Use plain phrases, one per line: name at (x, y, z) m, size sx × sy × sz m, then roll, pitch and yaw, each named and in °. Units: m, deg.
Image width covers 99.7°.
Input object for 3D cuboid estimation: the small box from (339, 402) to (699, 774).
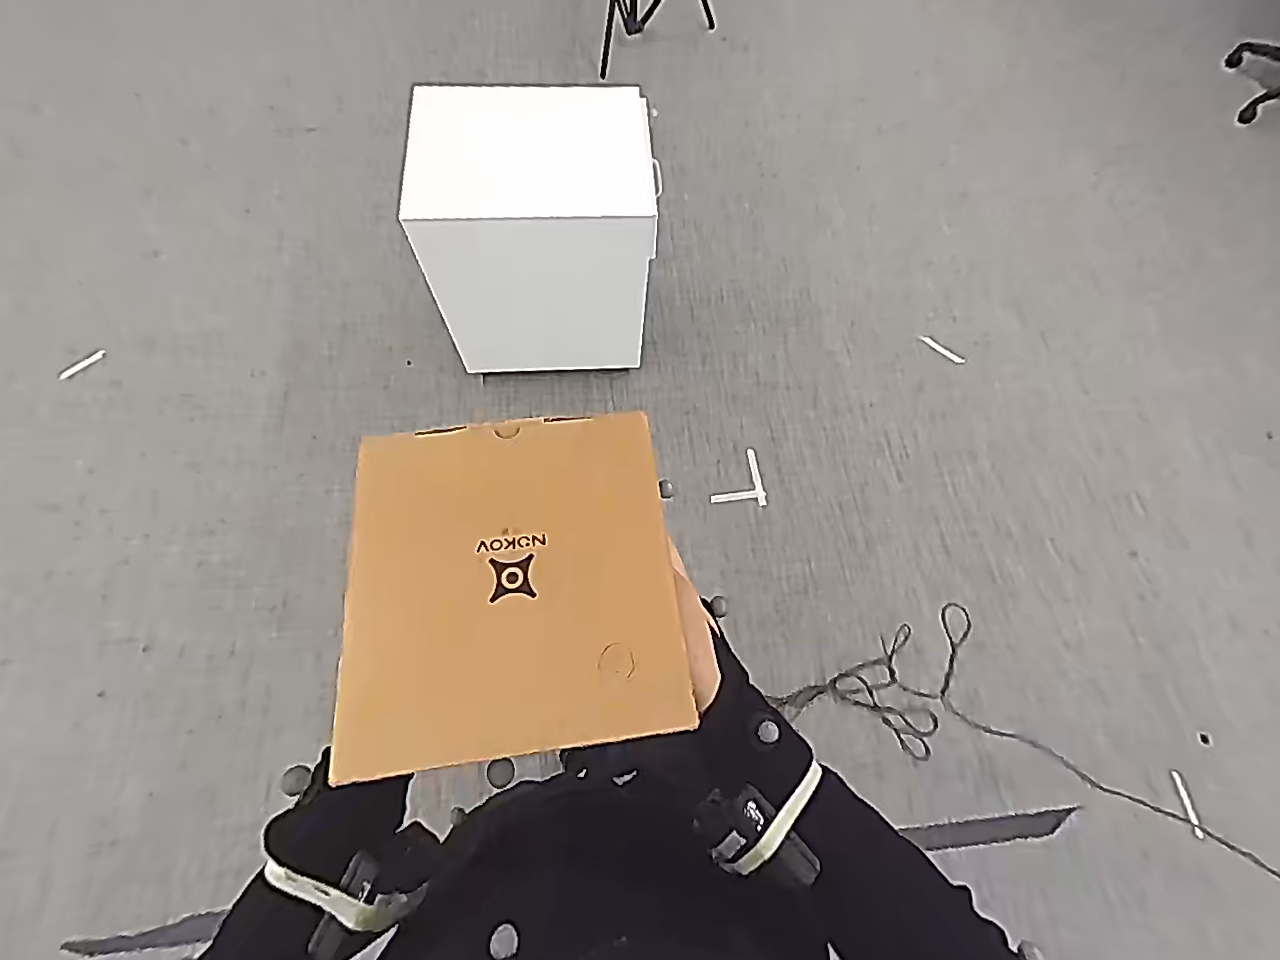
small box at (-0.066, 0.074, 0.348) m, size 0.168 × 0.176 × 0.179 m, roll -6°, pitch 65°, yaw -6°
